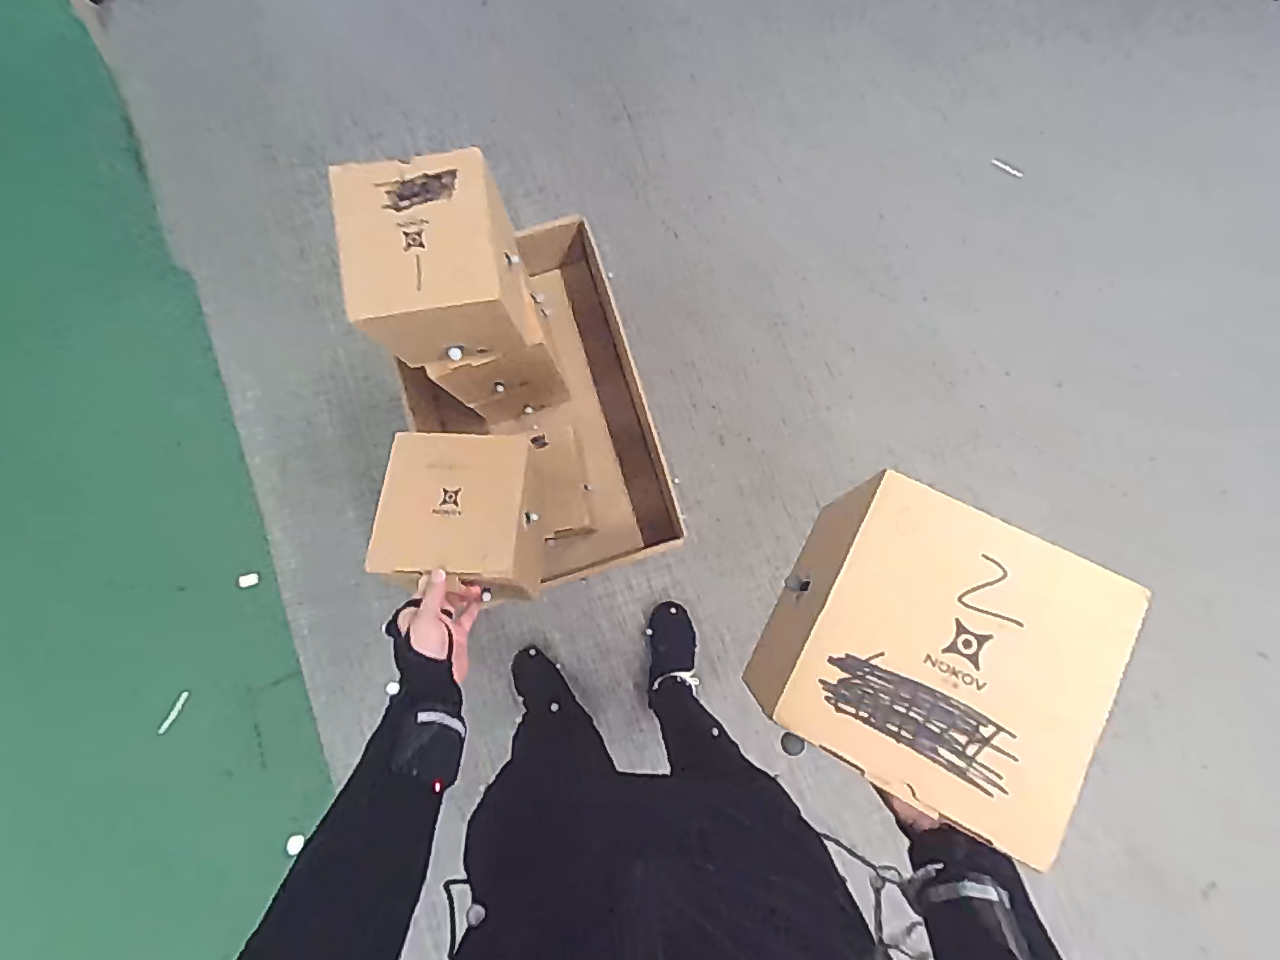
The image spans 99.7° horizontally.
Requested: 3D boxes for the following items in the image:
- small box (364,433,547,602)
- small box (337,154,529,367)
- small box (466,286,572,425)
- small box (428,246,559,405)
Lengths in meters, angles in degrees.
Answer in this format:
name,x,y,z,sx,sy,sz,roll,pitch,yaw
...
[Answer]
name,x,y,z,sx,sy,sz,roll,pitch,yaw
small box,-0.221,0.057,0.701,0.168,0.176,0.179,2,66,1
small box,-0.241,-0.256,0.666,0.168,0.176,0.179,-9,85,-1
small box,-0.234,-0.220,0.990,0.168,0.176,0.179,-18,84,-1
small box,-0.235,-0.235,0.829,0.168,0.176,0.179,-19,84,-2
